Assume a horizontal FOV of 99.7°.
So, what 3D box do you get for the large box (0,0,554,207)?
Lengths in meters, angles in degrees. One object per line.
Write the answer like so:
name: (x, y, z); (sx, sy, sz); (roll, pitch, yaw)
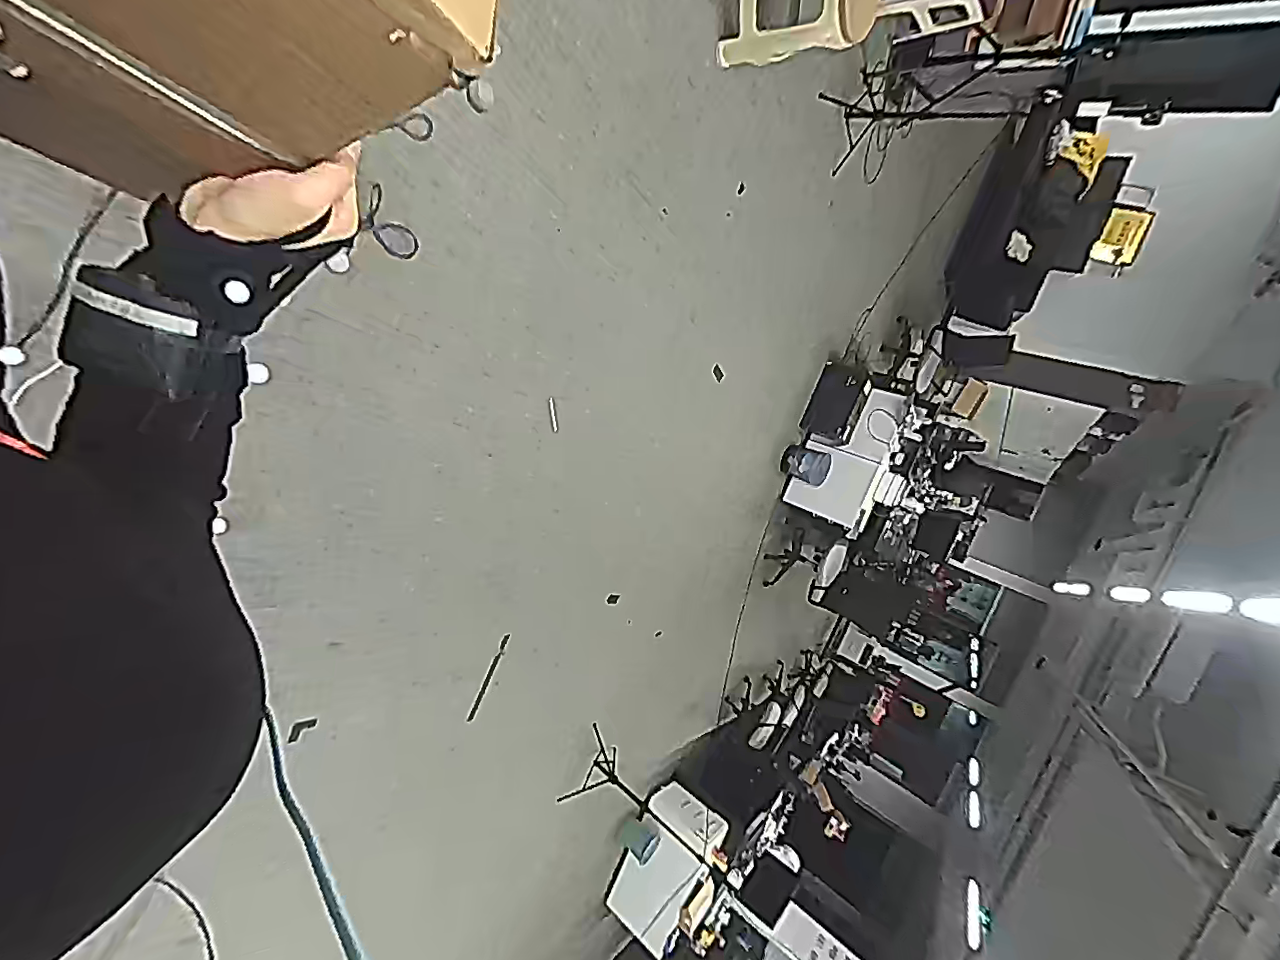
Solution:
large box: (-0.257, -0.371, 0.165); (0.408, 0.320, 0.320); (14, 80, -57)
